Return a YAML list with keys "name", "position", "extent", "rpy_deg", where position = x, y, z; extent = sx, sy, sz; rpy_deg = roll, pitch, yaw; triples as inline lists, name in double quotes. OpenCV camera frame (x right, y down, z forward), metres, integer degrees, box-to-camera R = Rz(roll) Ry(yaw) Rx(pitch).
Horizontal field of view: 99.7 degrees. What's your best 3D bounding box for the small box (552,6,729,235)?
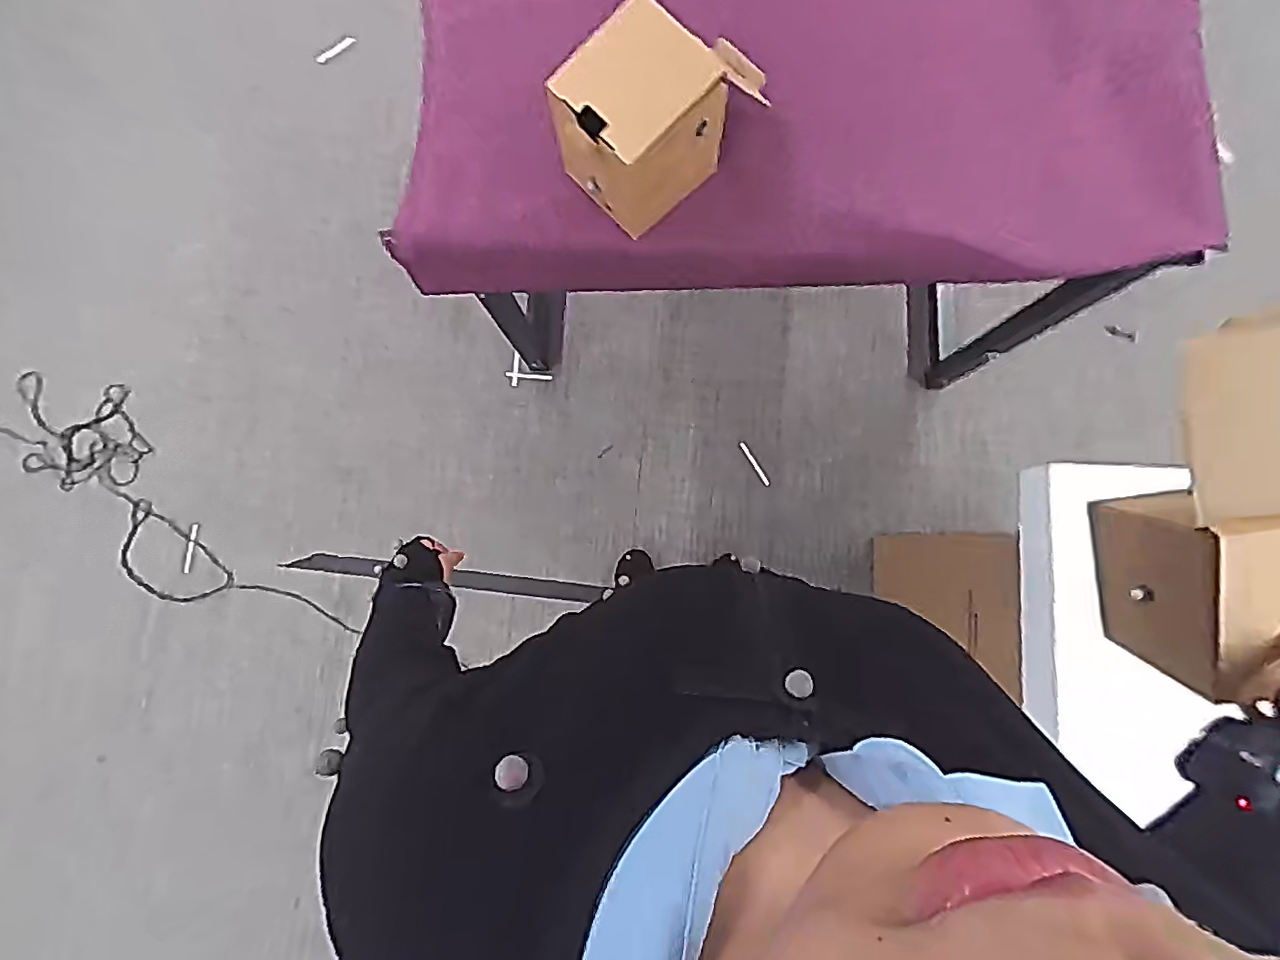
- name: "small box"
  position: [0.002, -0.503, 0.779]
  extent: [0.179, 0.176, 0.168]
  rpy_deg: [-42, 82, -3]
